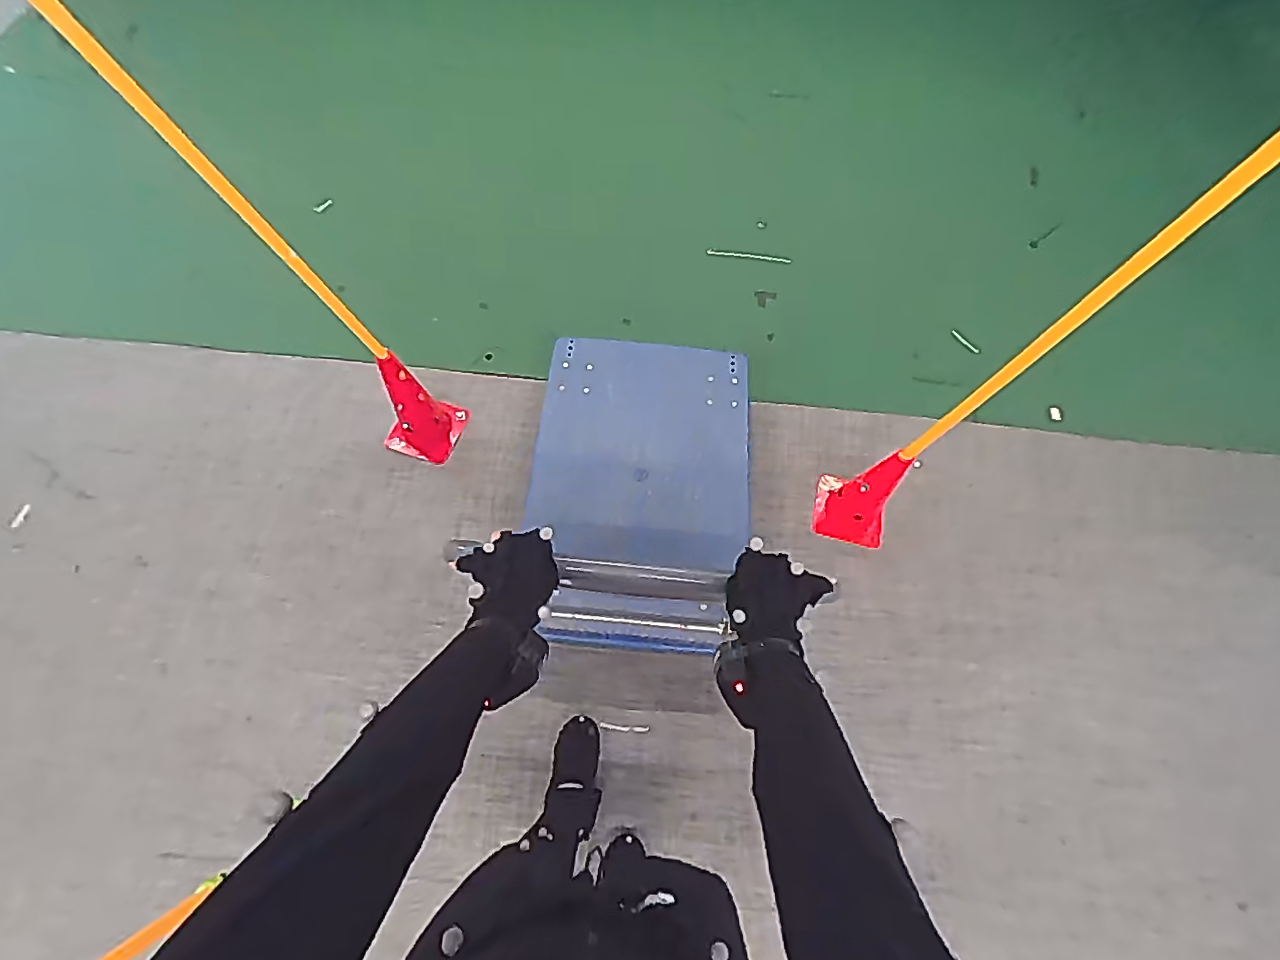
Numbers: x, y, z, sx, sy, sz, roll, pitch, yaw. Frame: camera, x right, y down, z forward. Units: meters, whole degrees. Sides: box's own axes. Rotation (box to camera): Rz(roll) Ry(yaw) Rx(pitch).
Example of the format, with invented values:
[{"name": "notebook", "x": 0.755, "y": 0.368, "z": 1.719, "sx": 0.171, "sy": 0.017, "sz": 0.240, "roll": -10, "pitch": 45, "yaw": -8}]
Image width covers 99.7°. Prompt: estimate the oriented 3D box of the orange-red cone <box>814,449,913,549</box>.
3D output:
[{"name": "orange-red cone", "x": 0.627, "y": 0.021, "z": 1.444, "sx": 0.198, "sy": 0.360, "sz": 0.199, "roll": 16, "pitch": 65, "yaw": 5}]
